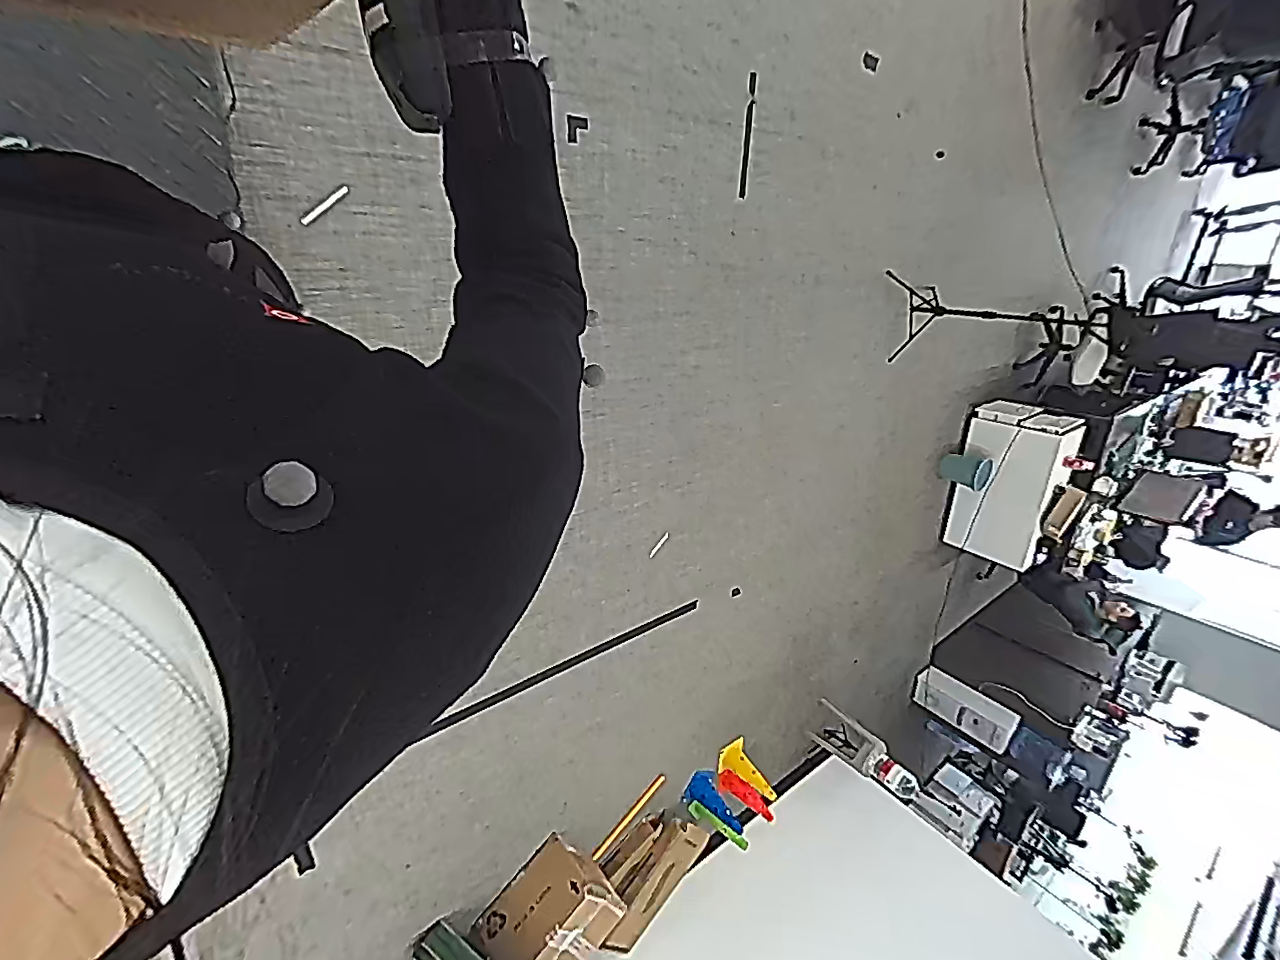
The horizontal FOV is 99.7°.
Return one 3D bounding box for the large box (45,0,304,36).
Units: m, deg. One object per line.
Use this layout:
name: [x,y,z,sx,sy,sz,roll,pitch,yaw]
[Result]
large box: [-0.385,-0.411,0.198,0.408,0.320,0.320,-18,127,-35]
